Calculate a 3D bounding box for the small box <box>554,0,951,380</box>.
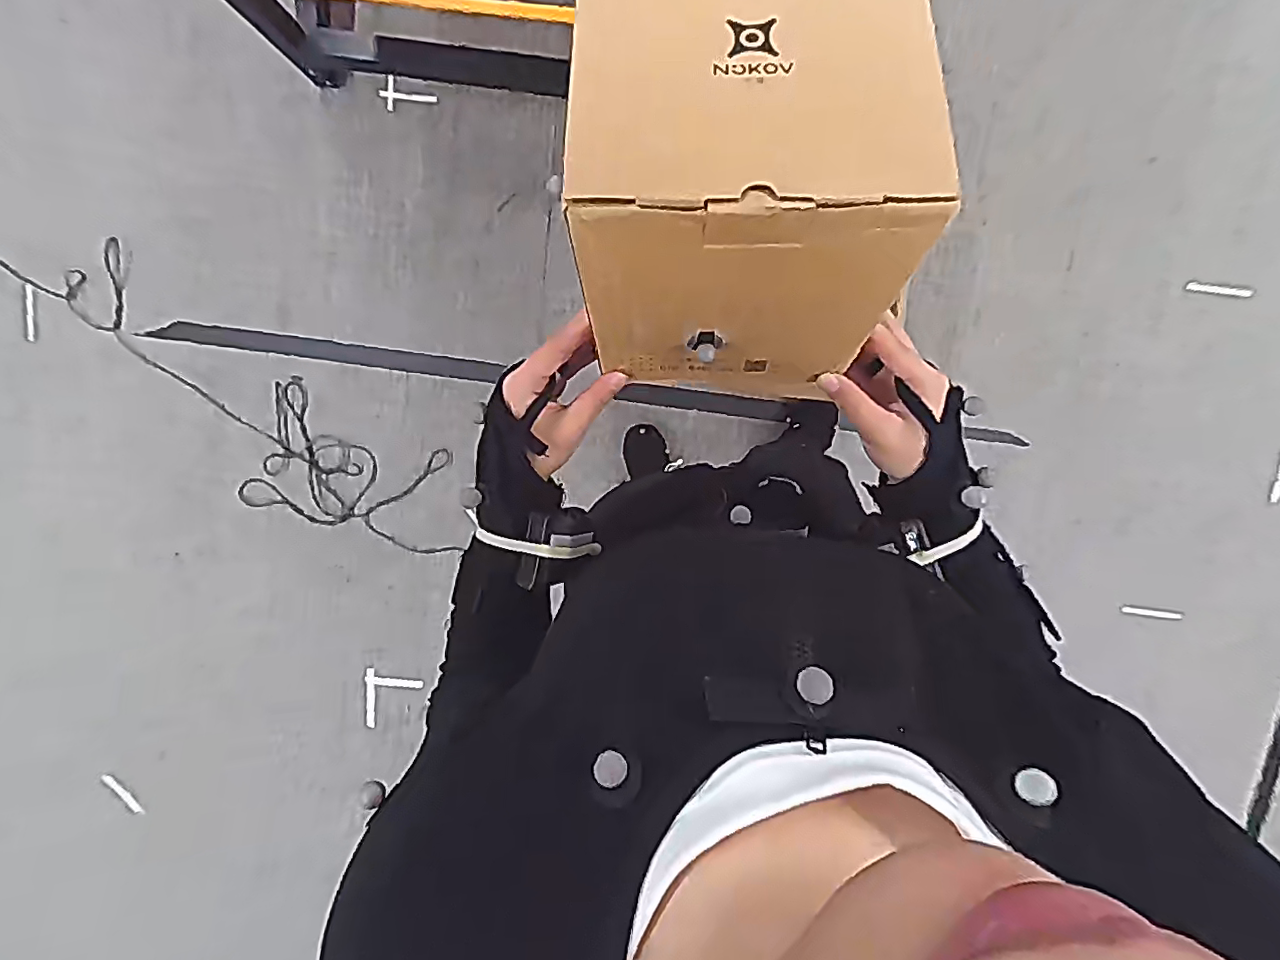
[{"bbox_3d":[0.049,-0.176,0.321,0.168,0.176,0.179,0,75,3],"label":"small box"}]
